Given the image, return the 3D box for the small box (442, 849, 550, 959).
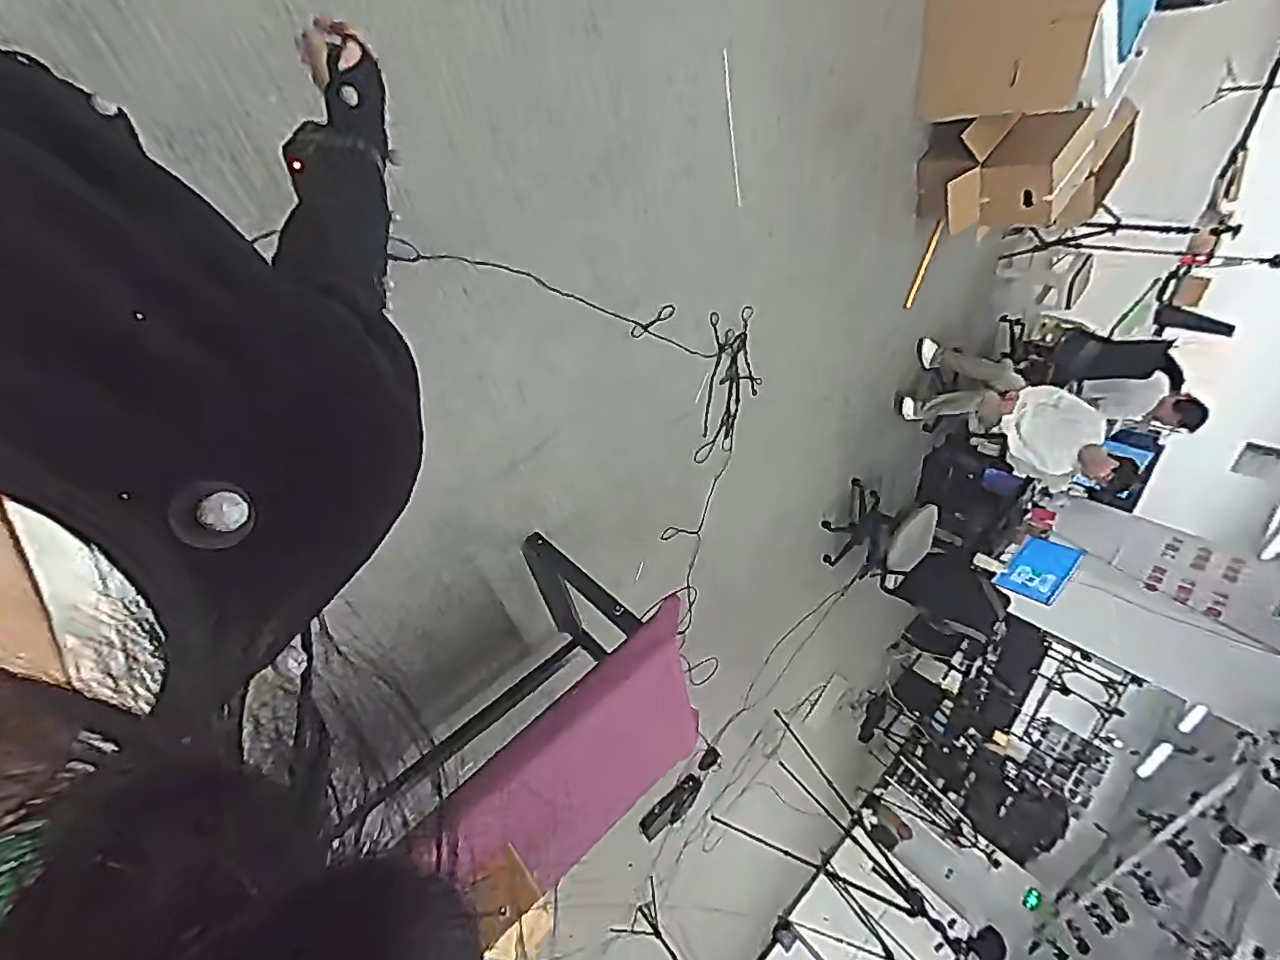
[{"bbox_3d":[-0.350,1.057,1.321,0.179,0.176,0.168,-32,131,-29],"label":"small box"}]
